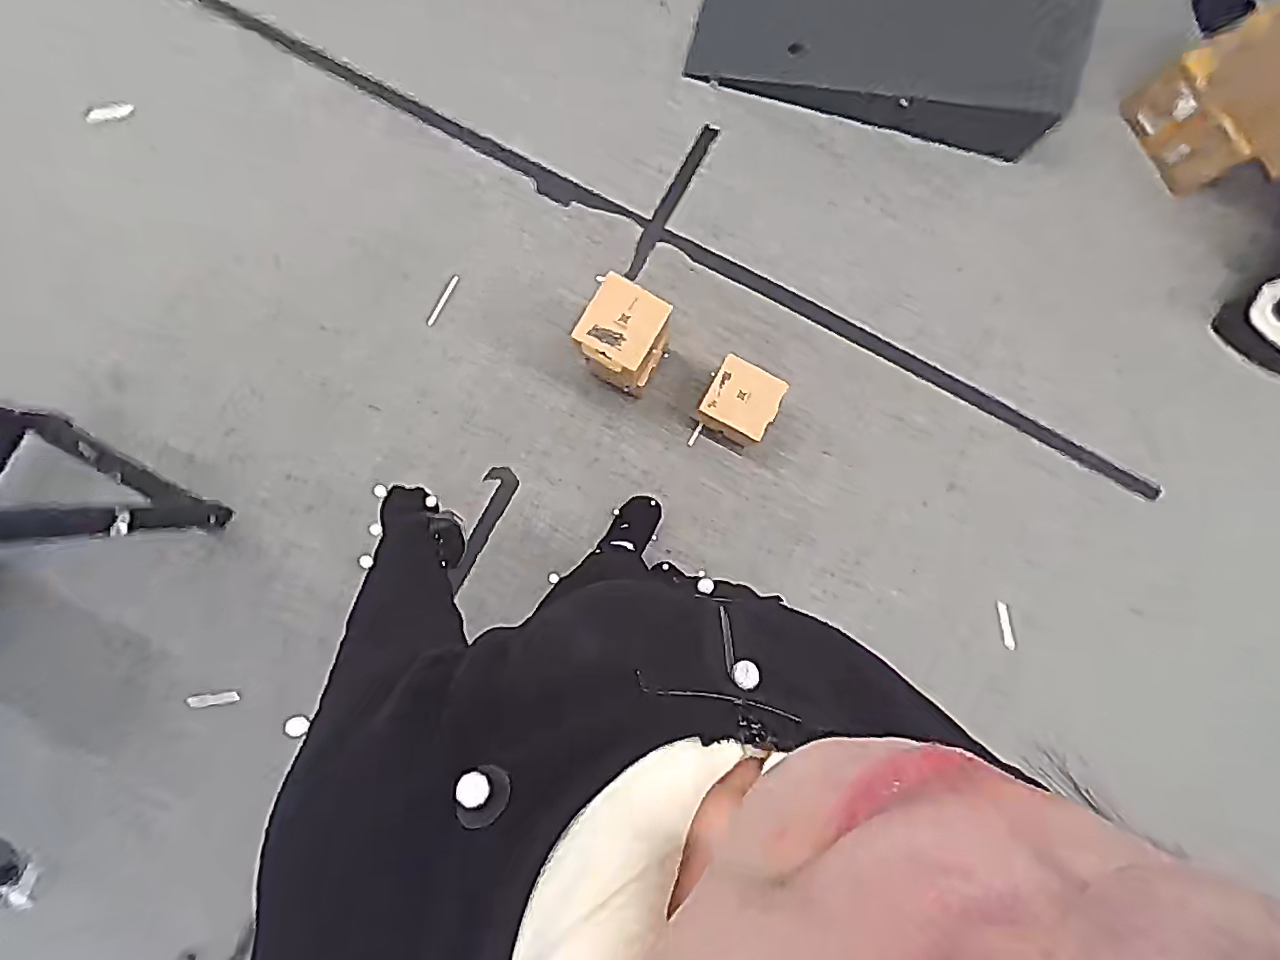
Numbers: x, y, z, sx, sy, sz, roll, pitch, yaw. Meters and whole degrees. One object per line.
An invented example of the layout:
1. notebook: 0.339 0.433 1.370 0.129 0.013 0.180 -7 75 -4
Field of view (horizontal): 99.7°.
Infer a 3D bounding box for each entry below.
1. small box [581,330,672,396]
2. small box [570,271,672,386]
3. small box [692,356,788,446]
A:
1. small box: -0.034 -0.335 1.425 0.179 0.176 0.168 28 88 0
2. small box: -0.041 -0.341 1.261 0.168 0.176 0.179 31 87 -1
3. small box: 0.256 -0.198 1.424 0.179 0.176 0.168 29 88 -1
